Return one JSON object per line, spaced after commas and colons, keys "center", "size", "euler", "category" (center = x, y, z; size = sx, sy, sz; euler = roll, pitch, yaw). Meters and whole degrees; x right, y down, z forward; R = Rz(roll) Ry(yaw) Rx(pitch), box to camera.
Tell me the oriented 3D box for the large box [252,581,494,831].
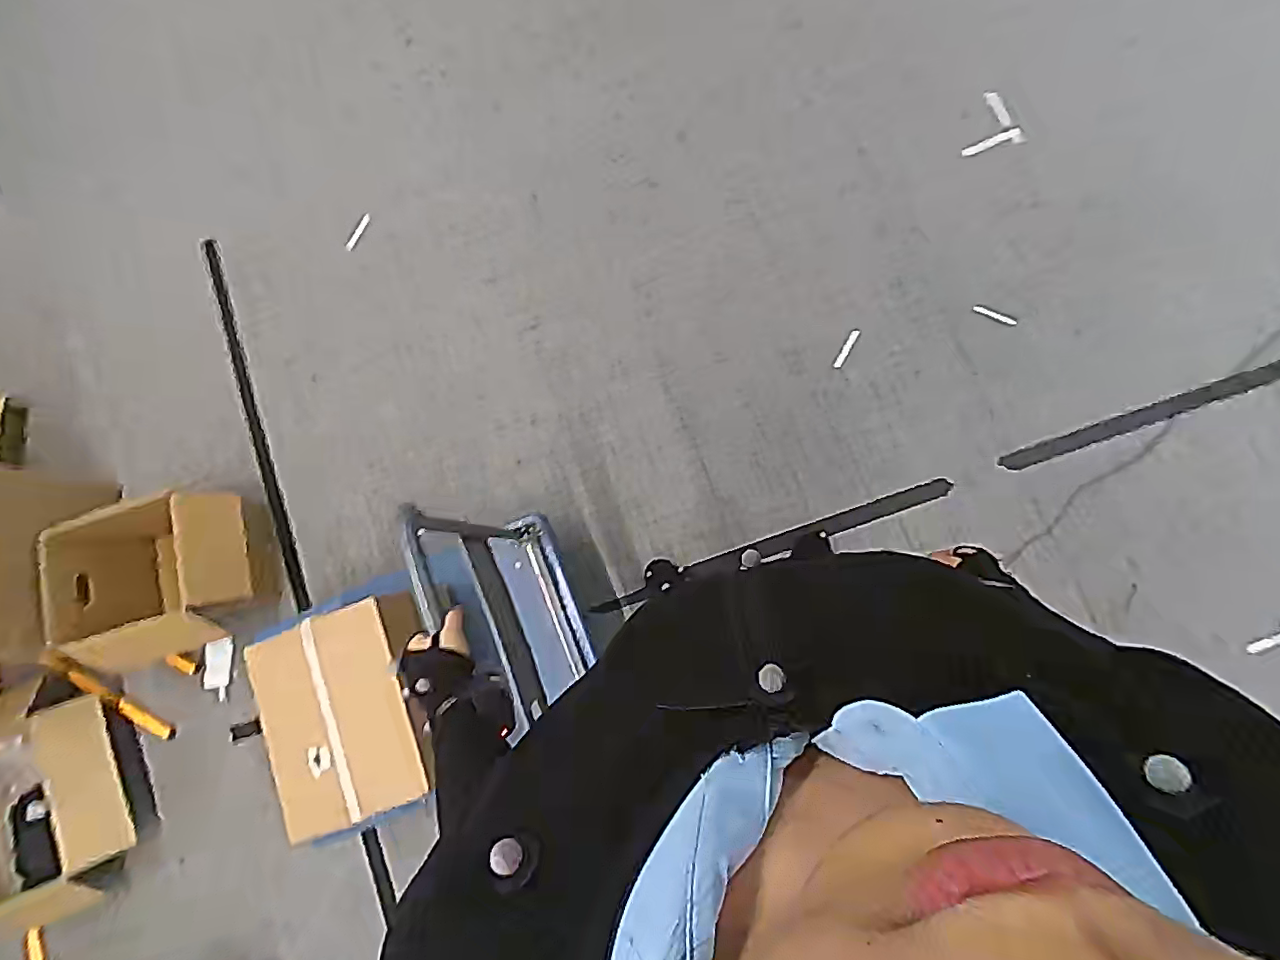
{"center": [-0.592, 0.485, 1.251], "size": [0.320, 0.320, 0.408], "euler": [-22, 82, 6], "category": "large box"}
